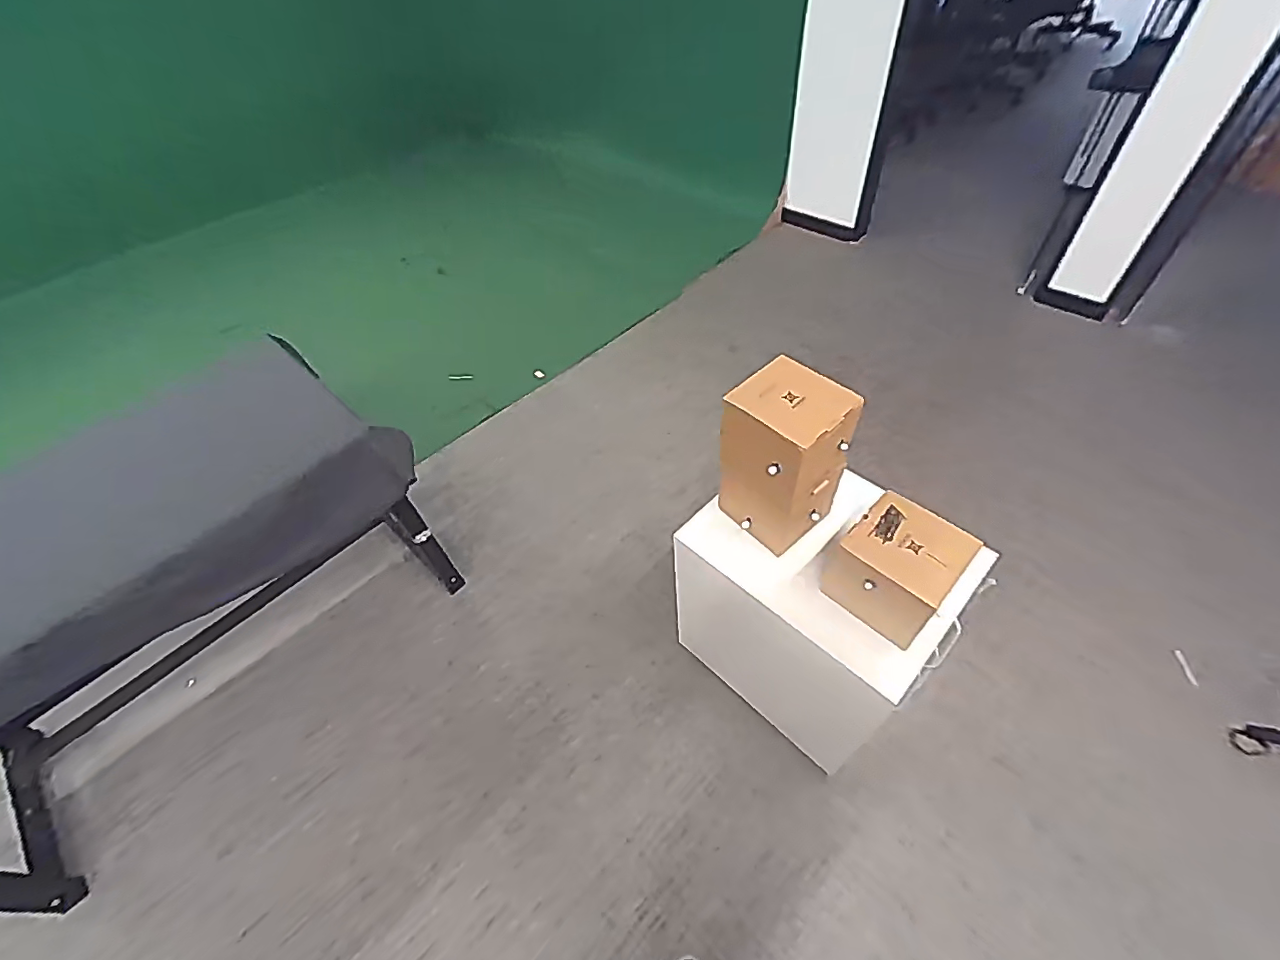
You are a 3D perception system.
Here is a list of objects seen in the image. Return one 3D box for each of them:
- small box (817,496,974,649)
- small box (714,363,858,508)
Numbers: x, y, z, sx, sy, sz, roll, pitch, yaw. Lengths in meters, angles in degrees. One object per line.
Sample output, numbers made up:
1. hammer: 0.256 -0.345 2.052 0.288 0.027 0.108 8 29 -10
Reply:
1. small box: 0.446 0.169 0.971 0.179 0.176 0.168 36 60 28
2. small box: 0.253 -0.074 0.975 0.168 0.176 0.179 -36 56 -27
